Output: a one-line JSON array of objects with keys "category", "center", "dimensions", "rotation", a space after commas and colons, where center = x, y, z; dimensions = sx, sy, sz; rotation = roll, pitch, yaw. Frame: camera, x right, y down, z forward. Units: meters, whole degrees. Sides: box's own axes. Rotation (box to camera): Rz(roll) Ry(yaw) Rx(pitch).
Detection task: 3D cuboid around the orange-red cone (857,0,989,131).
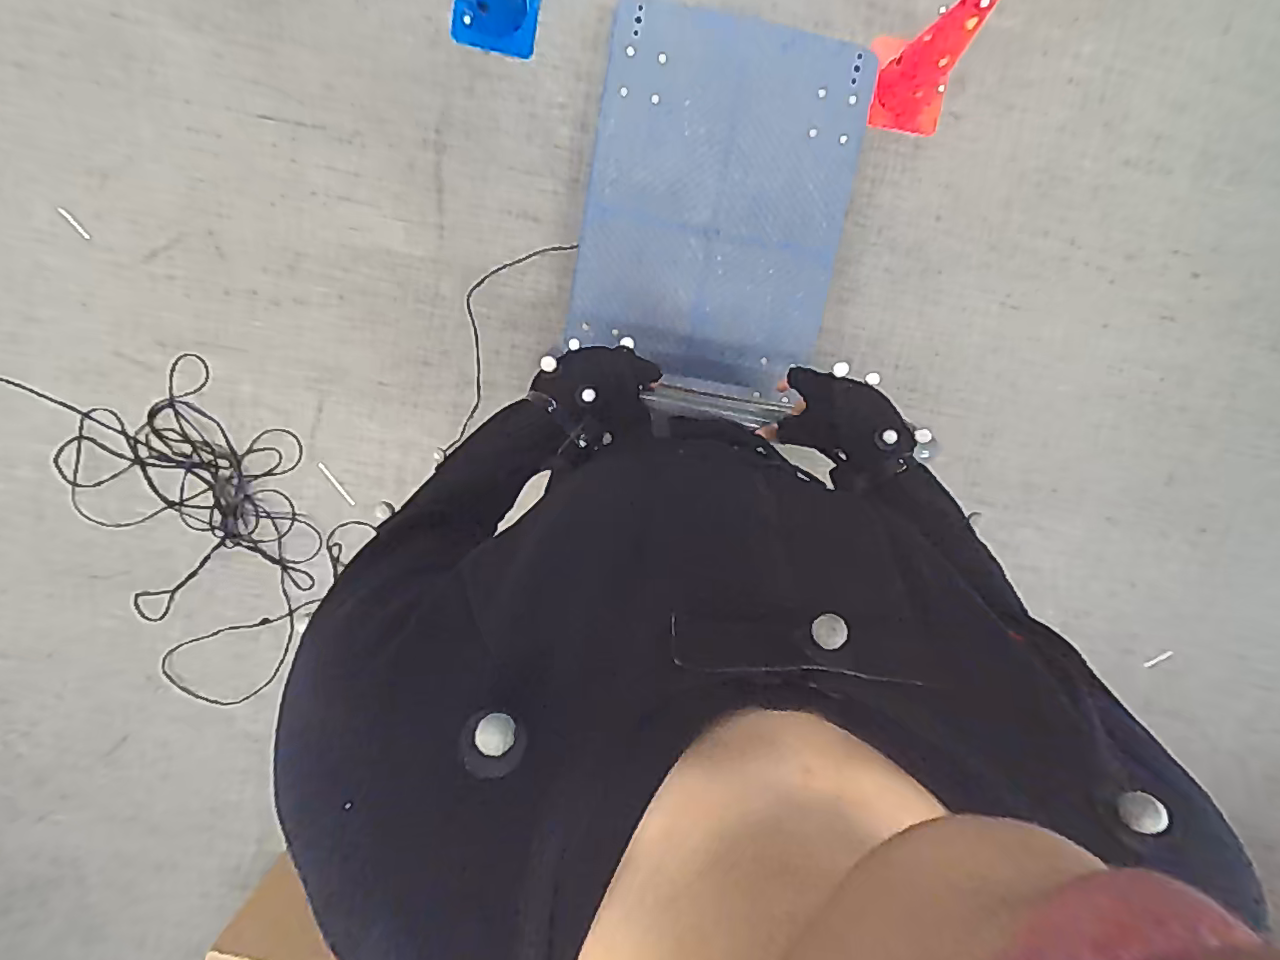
[{"category": "orange-red cone", "center": [0.648, -0.956, 1.169], "dimensions": [0.199, 0.360, 0.198], "rotation": [10, 98, -1]}]
